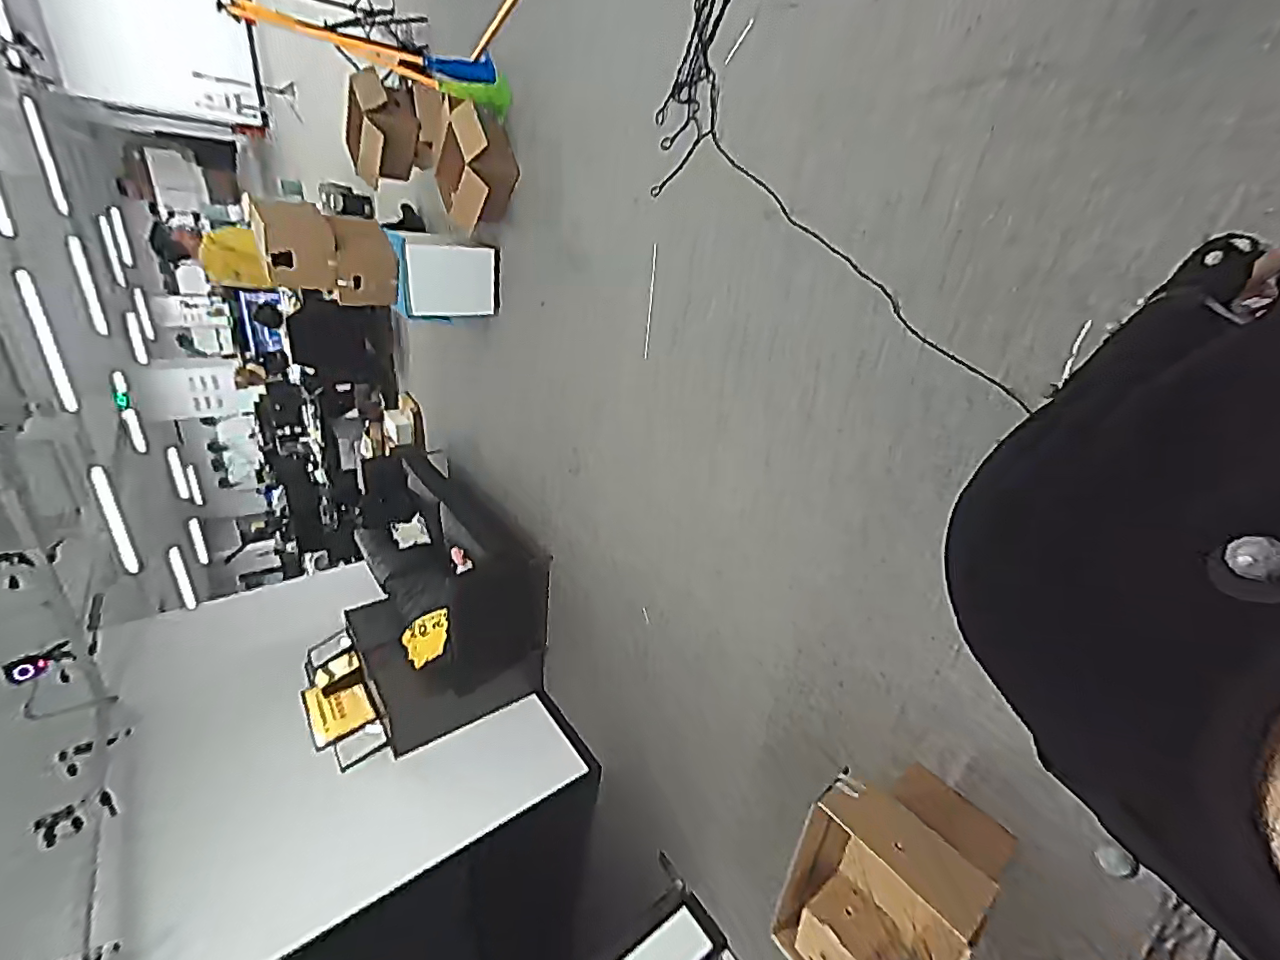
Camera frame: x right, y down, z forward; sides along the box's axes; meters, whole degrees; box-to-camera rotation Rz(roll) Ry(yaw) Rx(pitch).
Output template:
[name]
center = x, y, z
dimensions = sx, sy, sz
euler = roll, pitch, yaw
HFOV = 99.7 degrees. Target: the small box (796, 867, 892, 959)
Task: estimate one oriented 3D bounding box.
[small box]
center = 0.554, 1.207, 1.461
dimensions = 0.168, 0.176, 0.179
euler = 27, 120, 47
